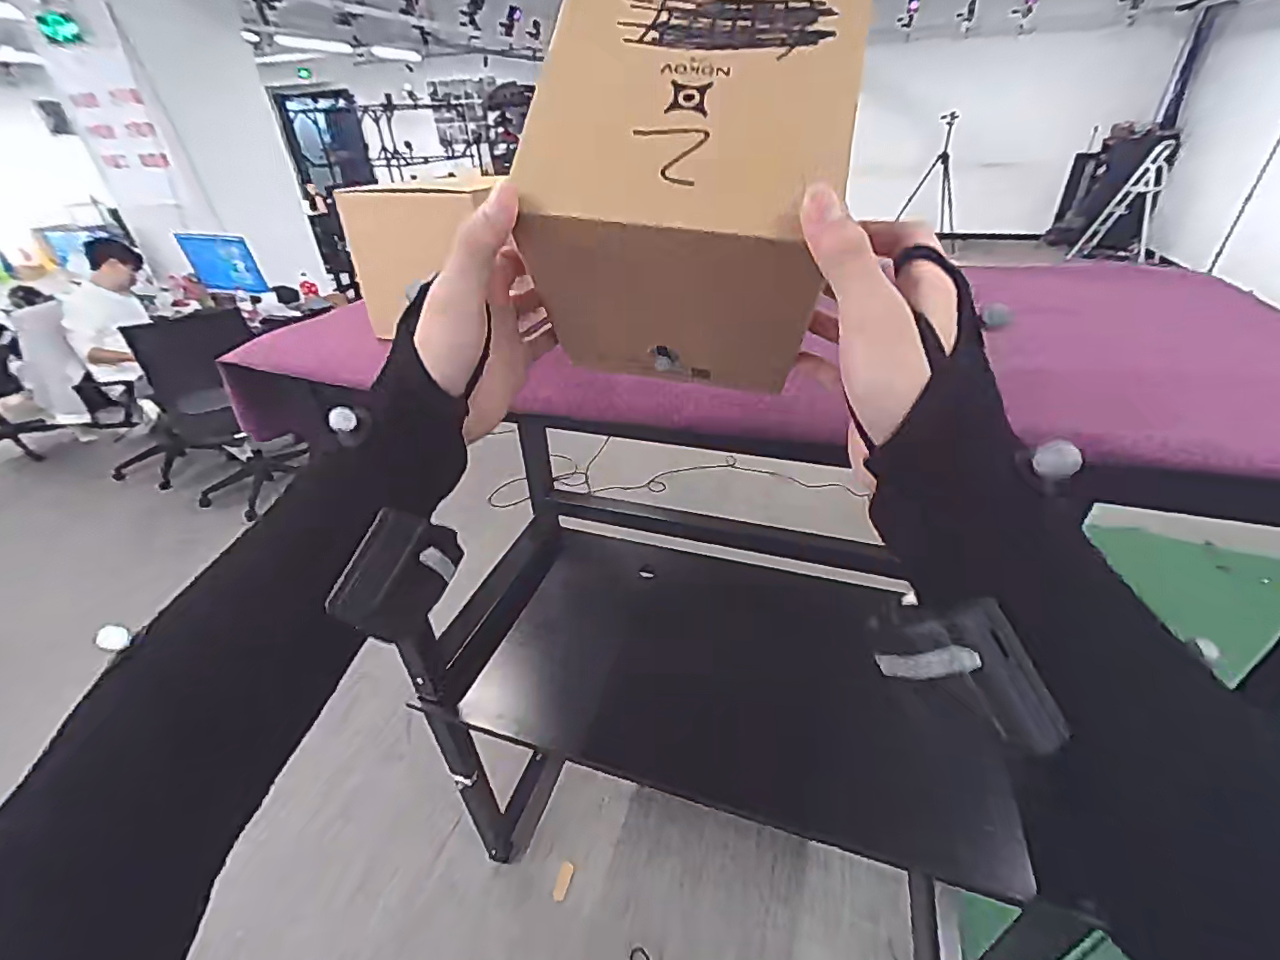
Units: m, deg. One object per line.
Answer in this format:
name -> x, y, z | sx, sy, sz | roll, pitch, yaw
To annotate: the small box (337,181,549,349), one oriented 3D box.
small box -> -0.228, -0.272, 0.681 | 0.179, 0.176, 0.168 | 8, 33, 15
